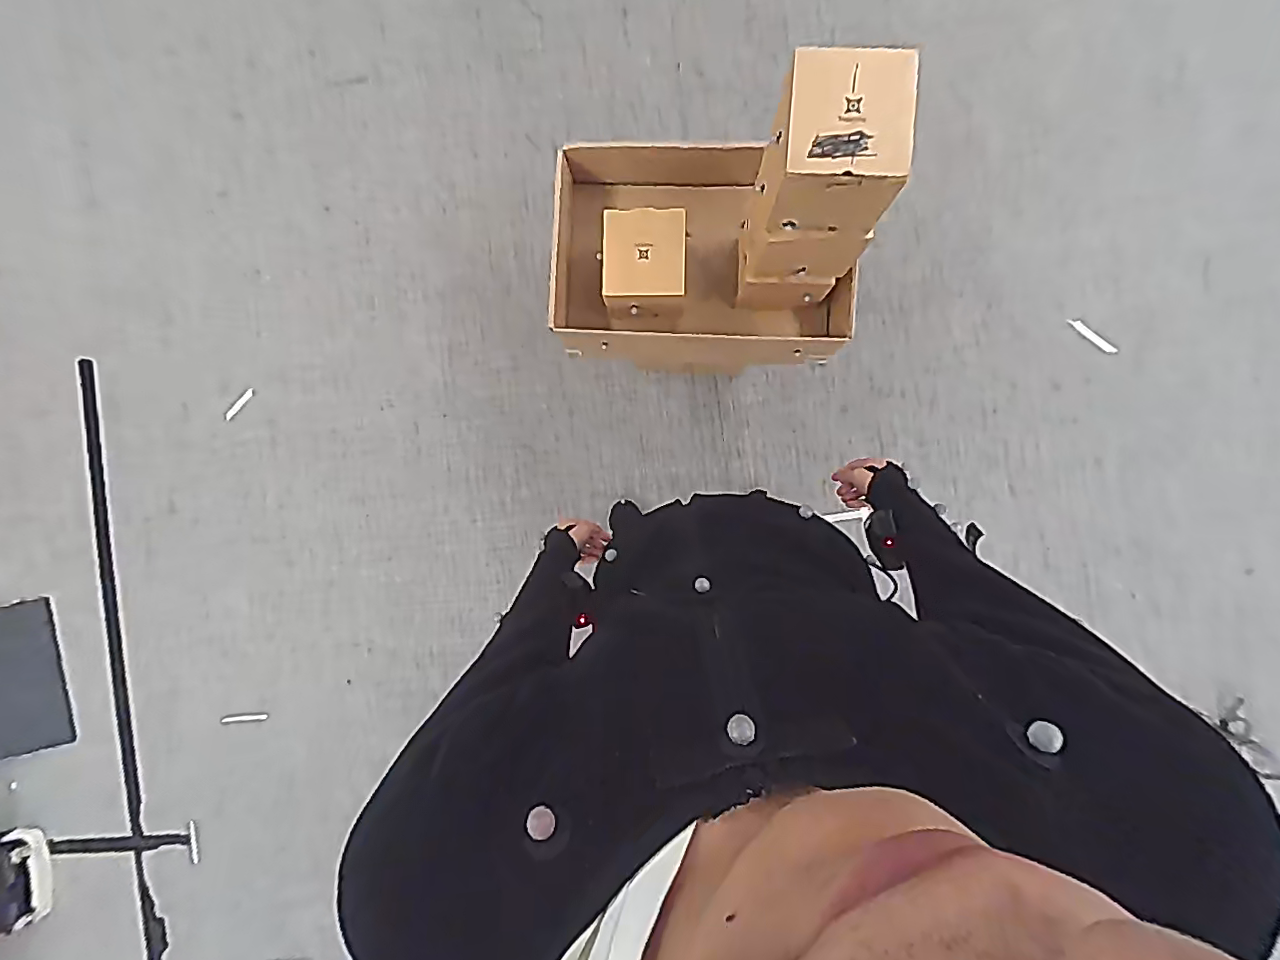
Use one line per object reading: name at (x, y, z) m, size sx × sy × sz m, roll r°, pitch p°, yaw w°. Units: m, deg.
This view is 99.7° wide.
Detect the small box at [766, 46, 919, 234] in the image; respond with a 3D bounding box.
small box at (0.284, -0.484, 0.793) m, size 0.168 × 0.176 × 0.179 m, roll 4°, pitch 89°, yaw 4°

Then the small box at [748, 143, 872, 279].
small box at (0.294, -0.468, 0.958) m, size 0.179 × 0.176 × 0.168 m, roll 0°, pitch 89°, yaw 3°

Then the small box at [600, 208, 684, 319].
small box at (0.009, -0.448, 1.143) m, size 0.168 × 0.176 × 0.179 m, roll 1°, pitch 89°, yaw 4°
